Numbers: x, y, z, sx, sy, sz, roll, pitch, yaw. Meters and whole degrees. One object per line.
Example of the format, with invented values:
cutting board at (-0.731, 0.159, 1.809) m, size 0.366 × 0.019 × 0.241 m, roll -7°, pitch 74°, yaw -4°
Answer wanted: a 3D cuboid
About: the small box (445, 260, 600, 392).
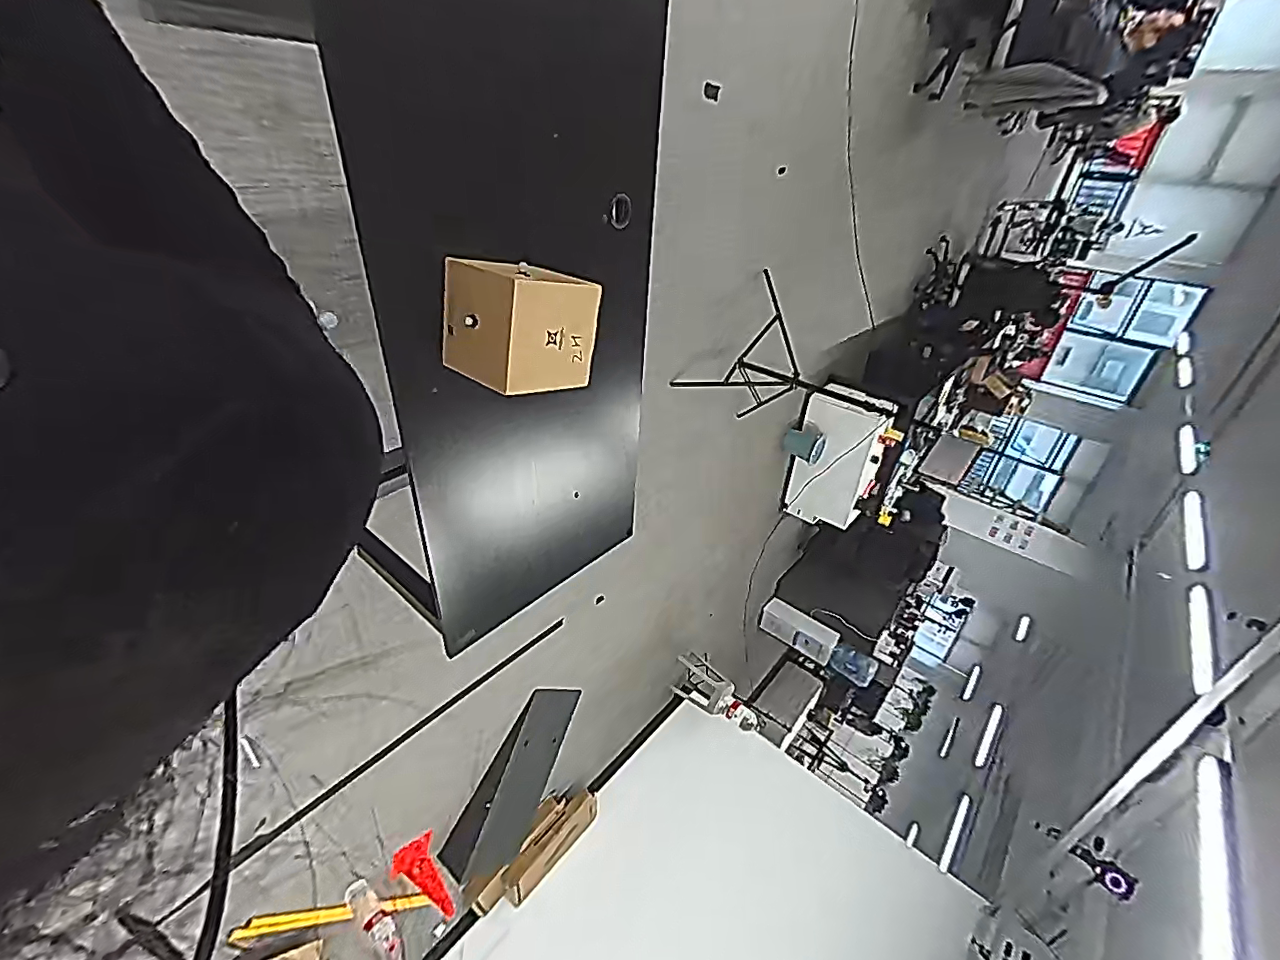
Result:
small box at (-0.193, -0.249, 0.867) m, size 0.179 × 0.176 × 0.168 m, roll -20°, pitch 129°, yaw -49°
